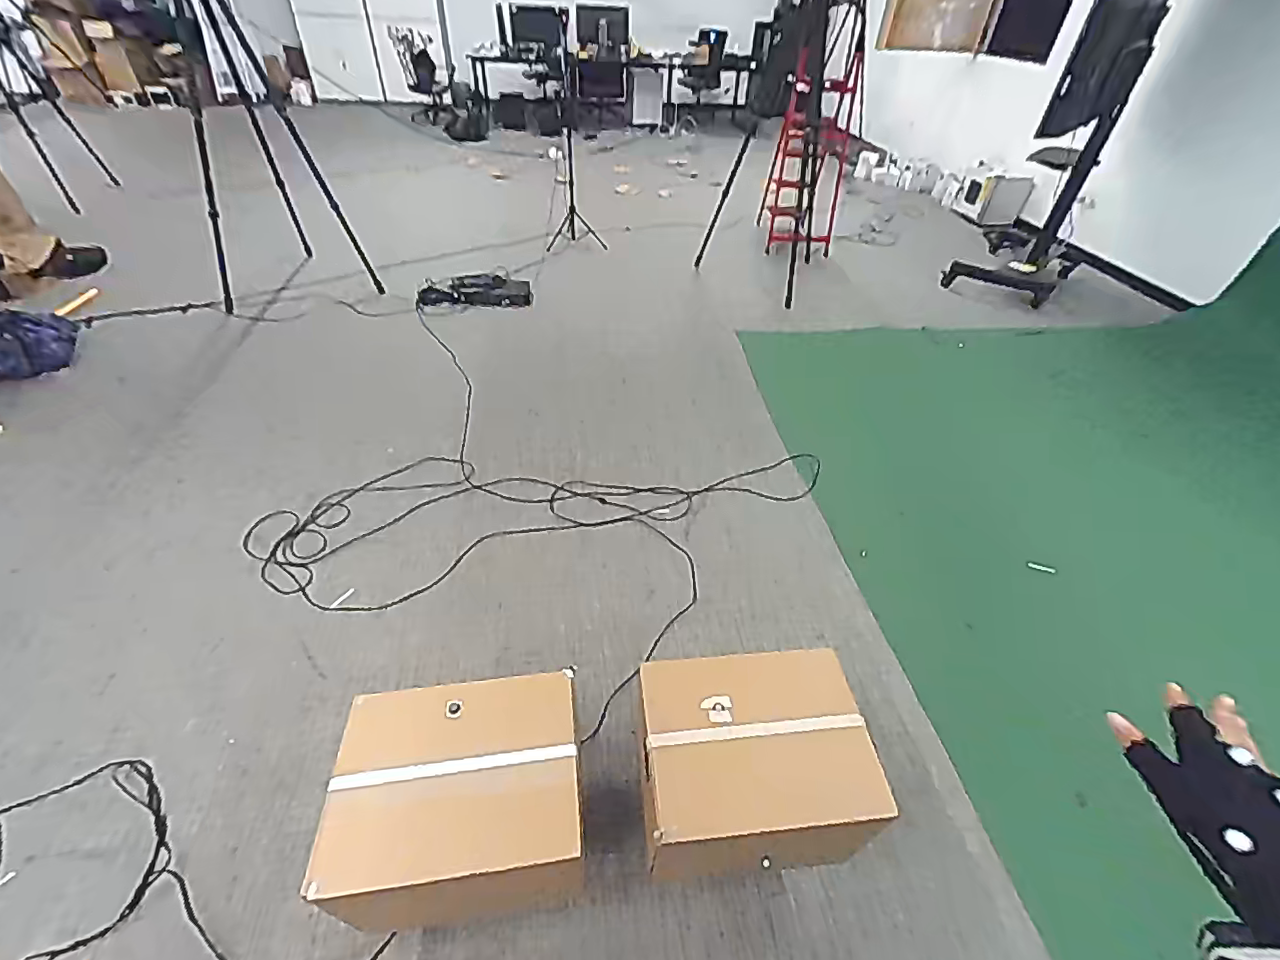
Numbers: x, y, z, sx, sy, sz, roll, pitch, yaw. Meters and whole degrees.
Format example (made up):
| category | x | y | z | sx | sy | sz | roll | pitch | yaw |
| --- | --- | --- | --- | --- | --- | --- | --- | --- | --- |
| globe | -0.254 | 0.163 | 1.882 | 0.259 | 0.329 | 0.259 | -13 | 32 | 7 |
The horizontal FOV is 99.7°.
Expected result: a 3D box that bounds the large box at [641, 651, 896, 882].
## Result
| category | x | y | z | sx | sy | sz | roll | pitch | yaw |
| --- | --- | --- | --- | --- | --- | --- | --- | --- | --- |
| large box | 0.219 | 0.580 | 1.099 | 0.408 | 0.320 | 0.320 | -3 | 43 | -5 |
